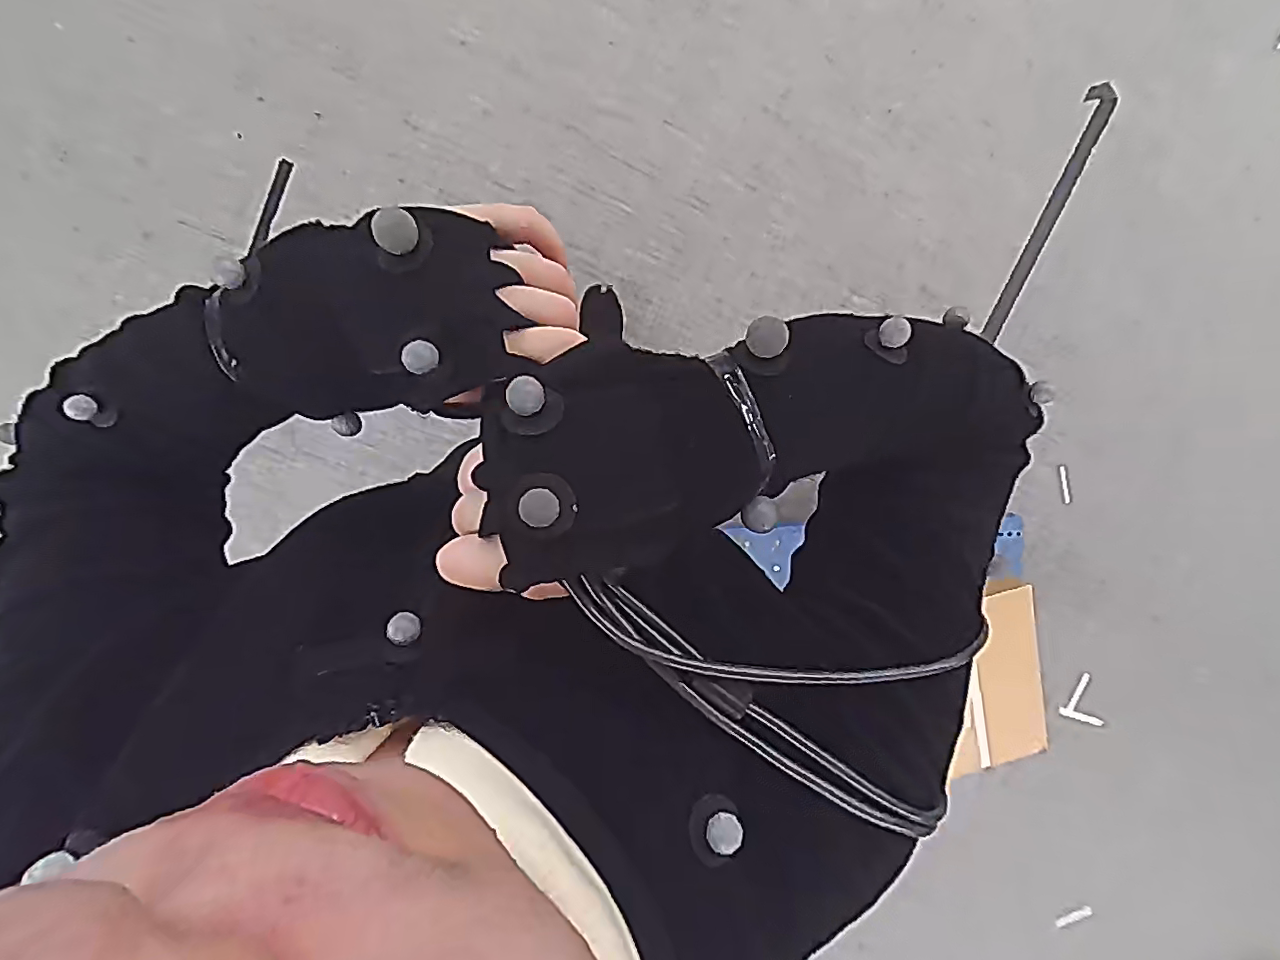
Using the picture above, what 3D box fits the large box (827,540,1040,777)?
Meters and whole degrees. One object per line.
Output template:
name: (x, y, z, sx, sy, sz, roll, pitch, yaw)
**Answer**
large box: (0.689, 0.406, 1.308, 0.320, 0.320, 0.408, -14, 101, -3)
